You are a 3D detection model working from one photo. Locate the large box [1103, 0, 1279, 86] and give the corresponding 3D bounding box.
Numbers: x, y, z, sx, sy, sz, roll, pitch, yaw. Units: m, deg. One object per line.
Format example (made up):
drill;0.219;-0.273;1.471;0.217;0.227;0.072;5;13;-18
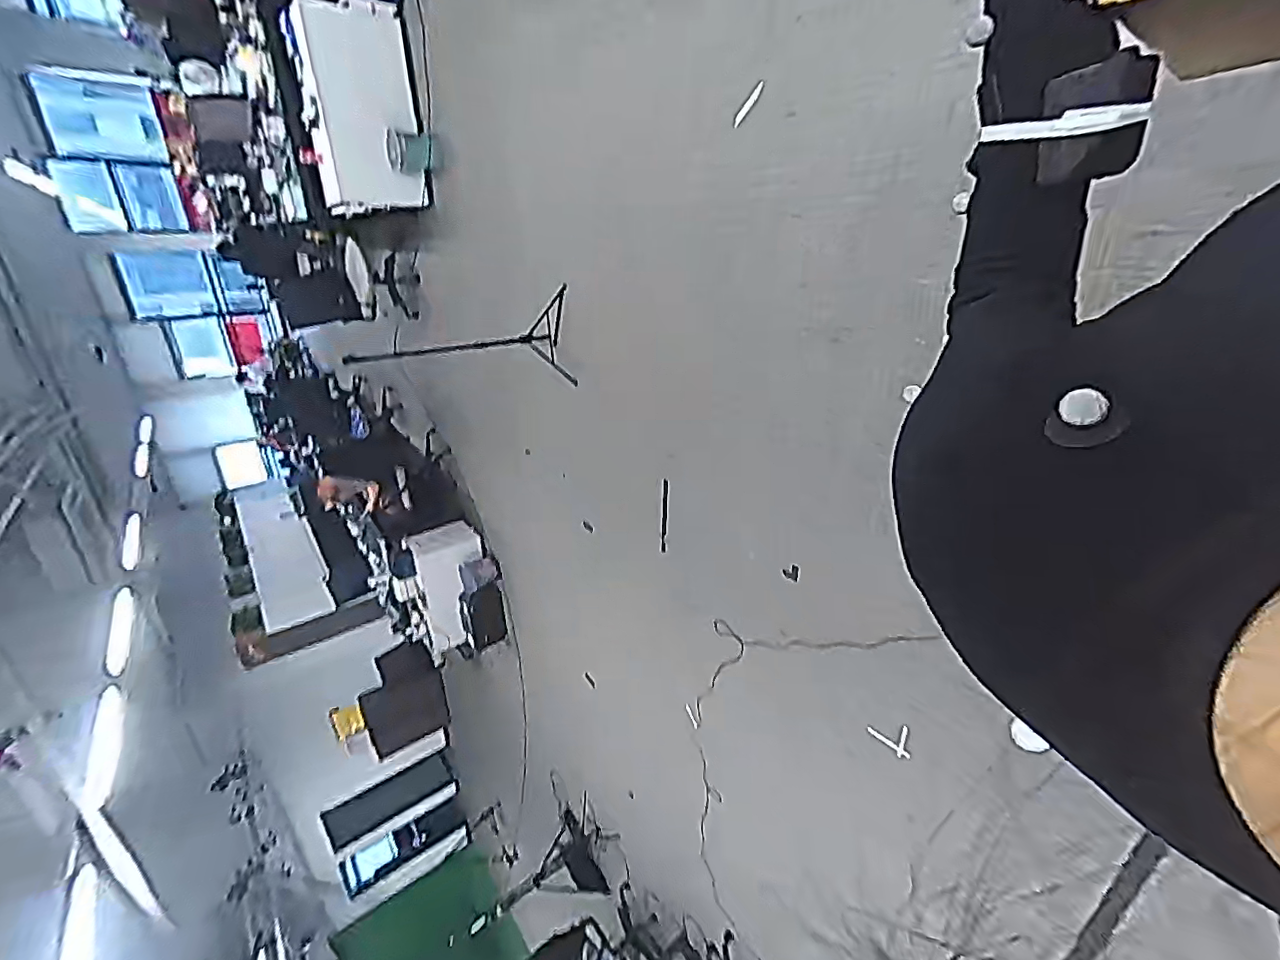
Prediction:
large box;0.494;-0.417;0.214;0.408;0.320;0.320;17;121;45
